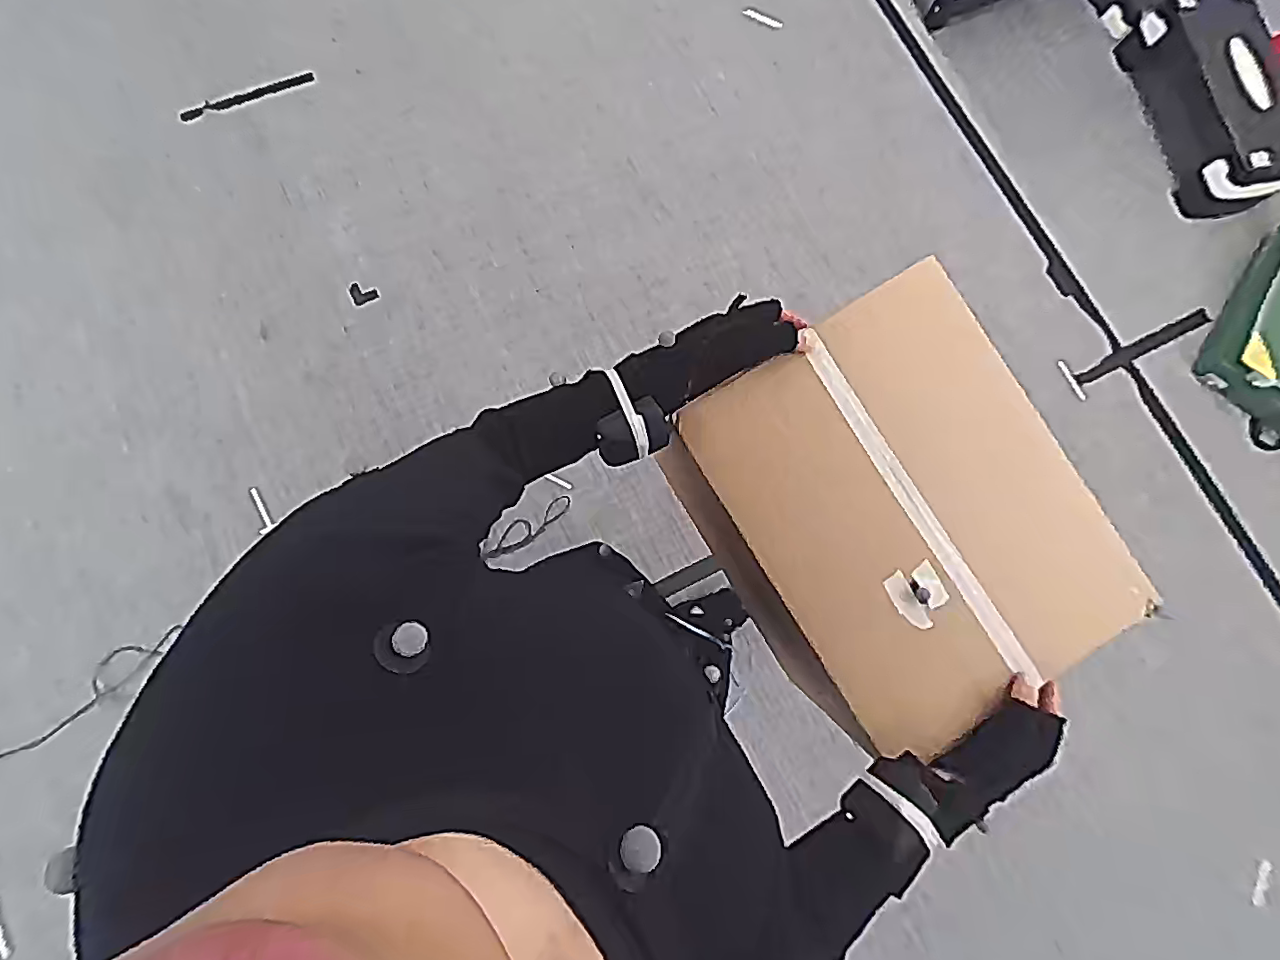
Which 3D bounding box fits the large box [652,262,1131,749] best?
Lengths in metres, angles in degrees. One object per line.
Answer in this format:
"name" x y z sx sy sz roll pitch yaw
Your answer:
"large box" 0.256 0.026 0.686 0.320 0.320 0.408 -32 89 -3
